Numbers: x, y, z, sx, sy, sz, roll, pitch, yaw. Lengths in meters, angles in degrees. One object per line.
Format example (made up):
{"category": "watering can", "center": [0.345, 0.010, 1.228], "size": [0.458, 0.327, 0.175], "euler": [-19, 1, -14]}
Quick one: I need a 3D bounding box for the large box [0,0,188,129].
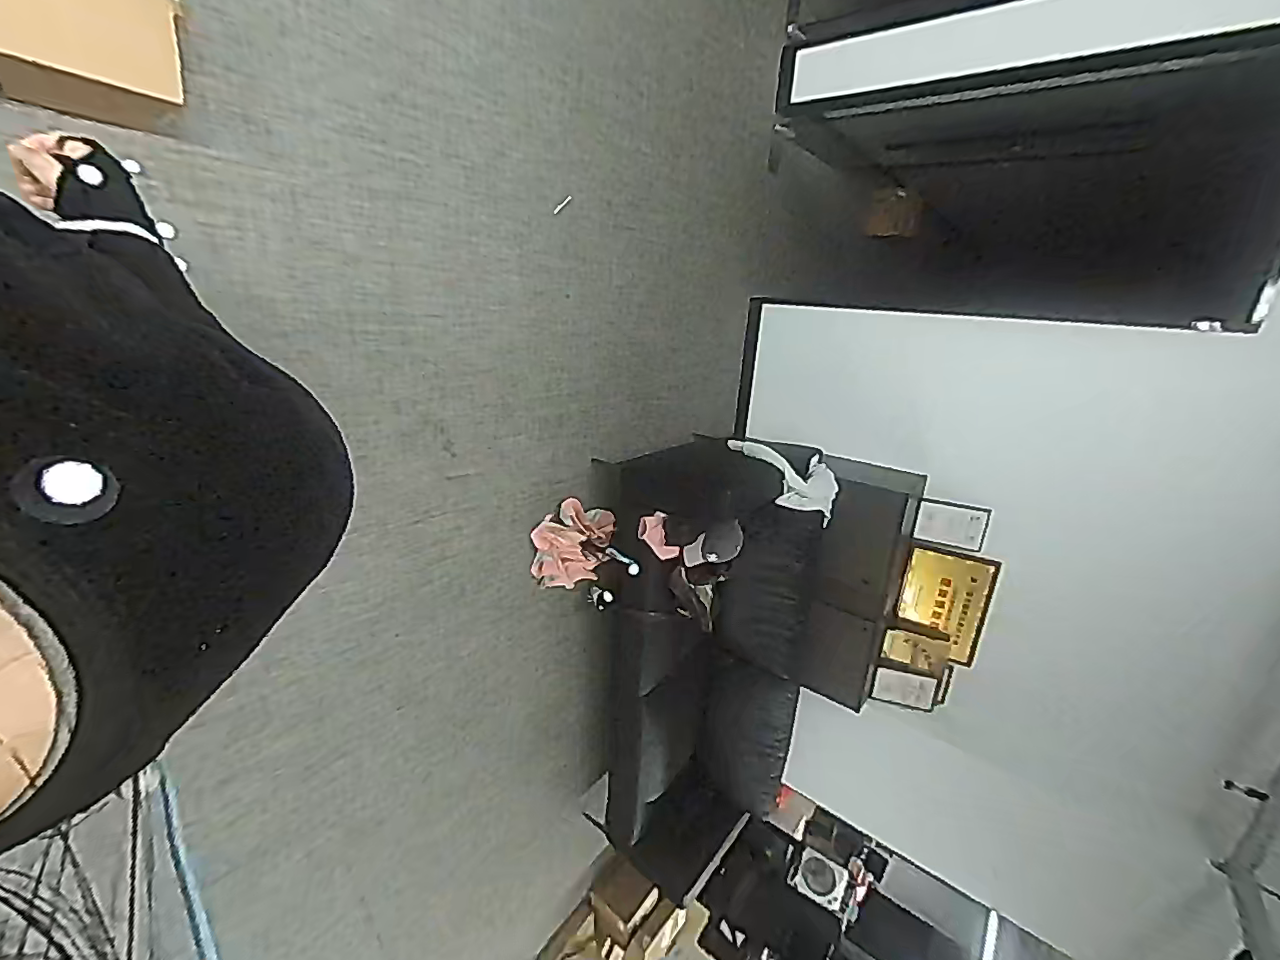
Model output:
{"category": "large box", "center": [-0.974, -0.759, 0.791], "size": [0.408, 0.320, 0.320], "euler": [-15, 115, -49]}
